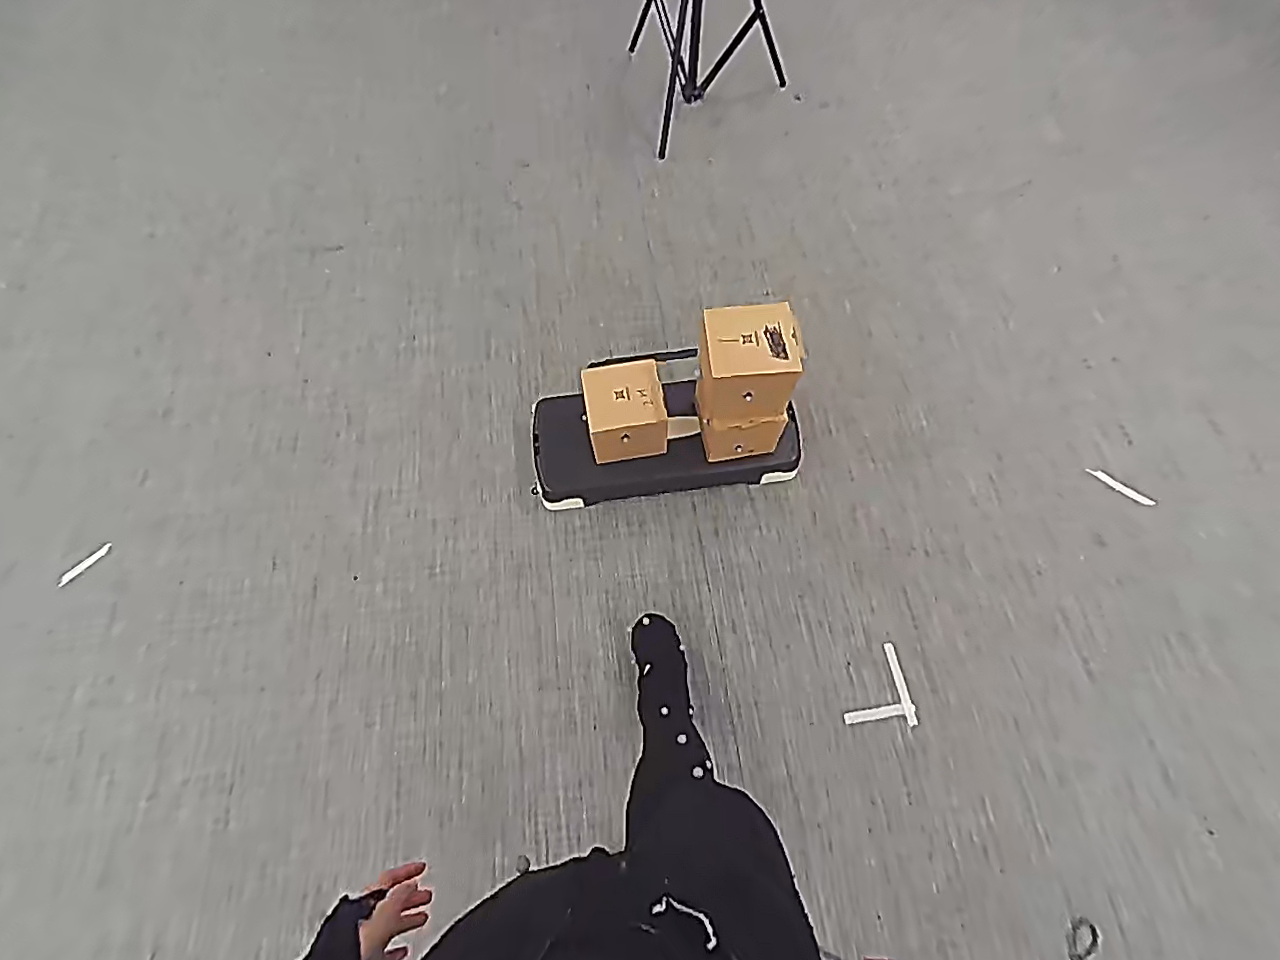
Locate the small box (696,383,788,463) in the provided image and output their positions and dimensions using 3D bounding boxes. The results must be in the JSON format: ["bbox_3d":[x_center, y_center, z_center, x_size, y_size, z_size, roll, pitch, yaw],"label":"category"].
[{"bbox_3d":[0.230,-0.160,1.275,0.168,0.176,0.179,-9,68,-3],"label":"small box"}]

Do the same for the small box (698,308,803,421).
[{"bbox_3d":[0.221,-0.236,1.129,0.179,0.176,0.168,-4,68,0],"label":"small box"}]
